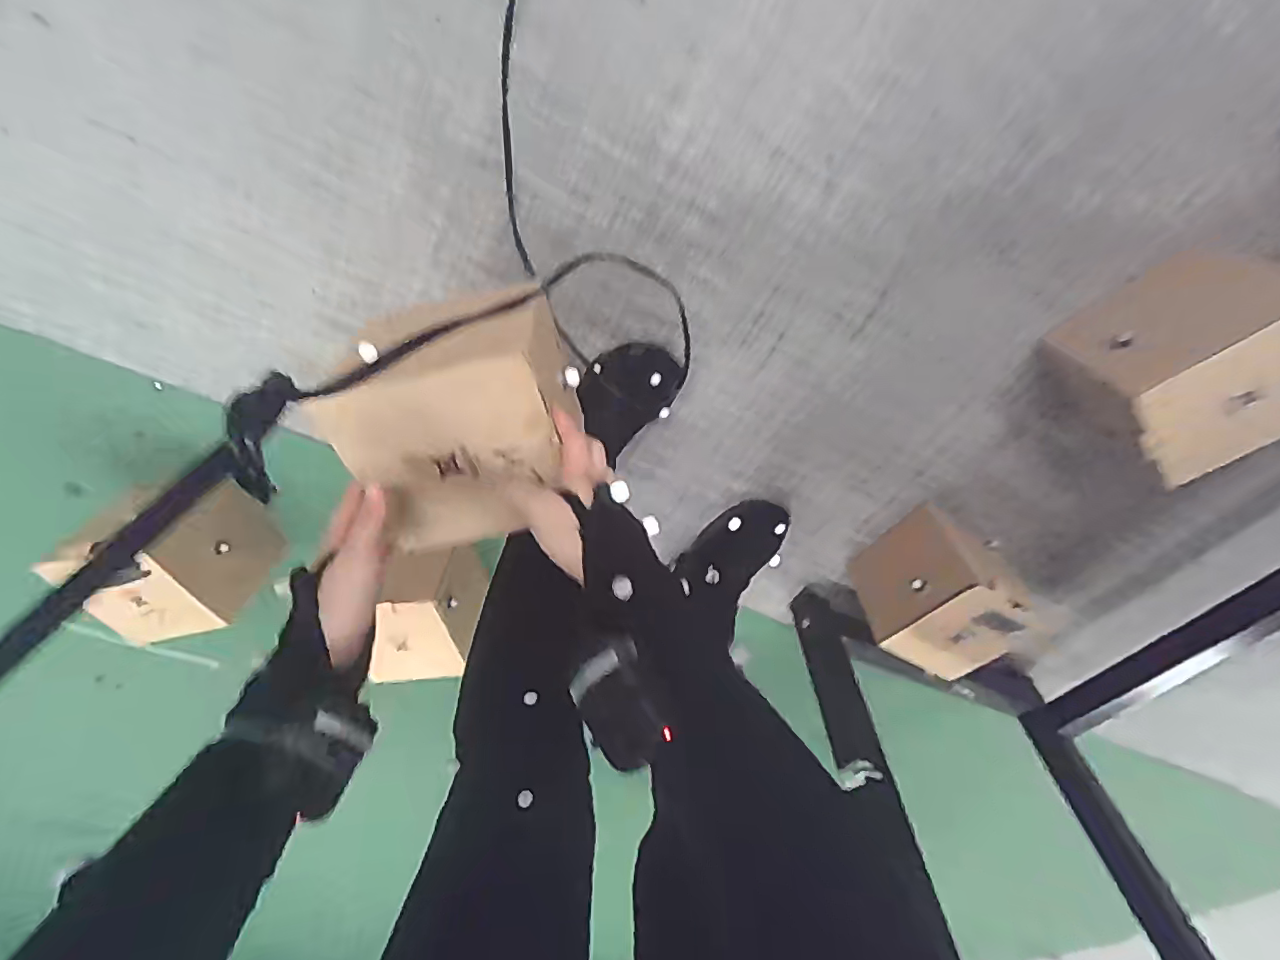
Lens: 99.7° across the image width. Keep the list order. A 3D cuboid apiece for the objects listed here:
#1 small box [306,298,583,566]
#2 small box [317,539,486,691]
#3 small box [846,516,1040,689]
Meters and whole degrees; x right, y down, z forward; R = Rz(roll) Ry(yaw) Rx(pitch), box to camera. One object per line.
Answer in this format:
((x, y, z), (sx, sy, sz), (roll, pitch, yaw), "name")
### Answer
((-0.155, -0.050, 0.504), (0.179, 0.176, 0.168), (-13, 127, 2), "small box")
((-0.362, 0.209, 0.864), (0.168, 0.176, 0.179), (-6, 124, 4), "small box")
((0.459, 0.188, 0.851), (0.168, 0.176, 0.179), (29, 121, -18), "small box")
